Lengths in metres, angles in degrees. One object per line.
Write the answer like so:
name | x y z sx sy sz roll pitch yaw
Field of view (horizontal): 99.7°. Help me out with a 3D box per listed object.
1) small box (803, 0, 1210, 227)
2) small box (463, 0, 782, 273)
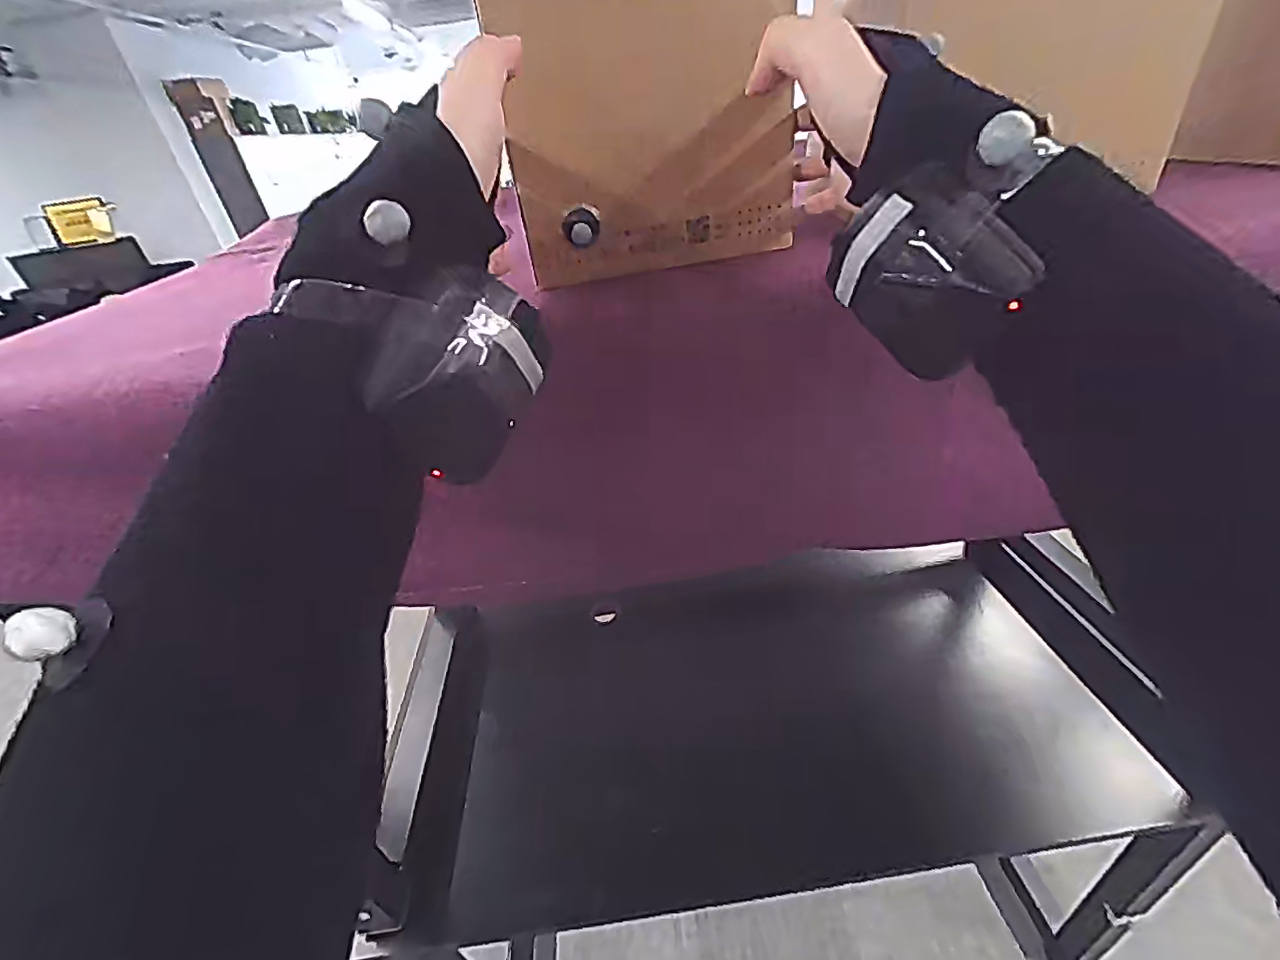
small box | 0.220 -0.280 0.361 0.179 0.176 0.168 -7 33 1
small box | -0.010 -0.245 0.361 0.168 0.176 0.179 -11 32 -4
